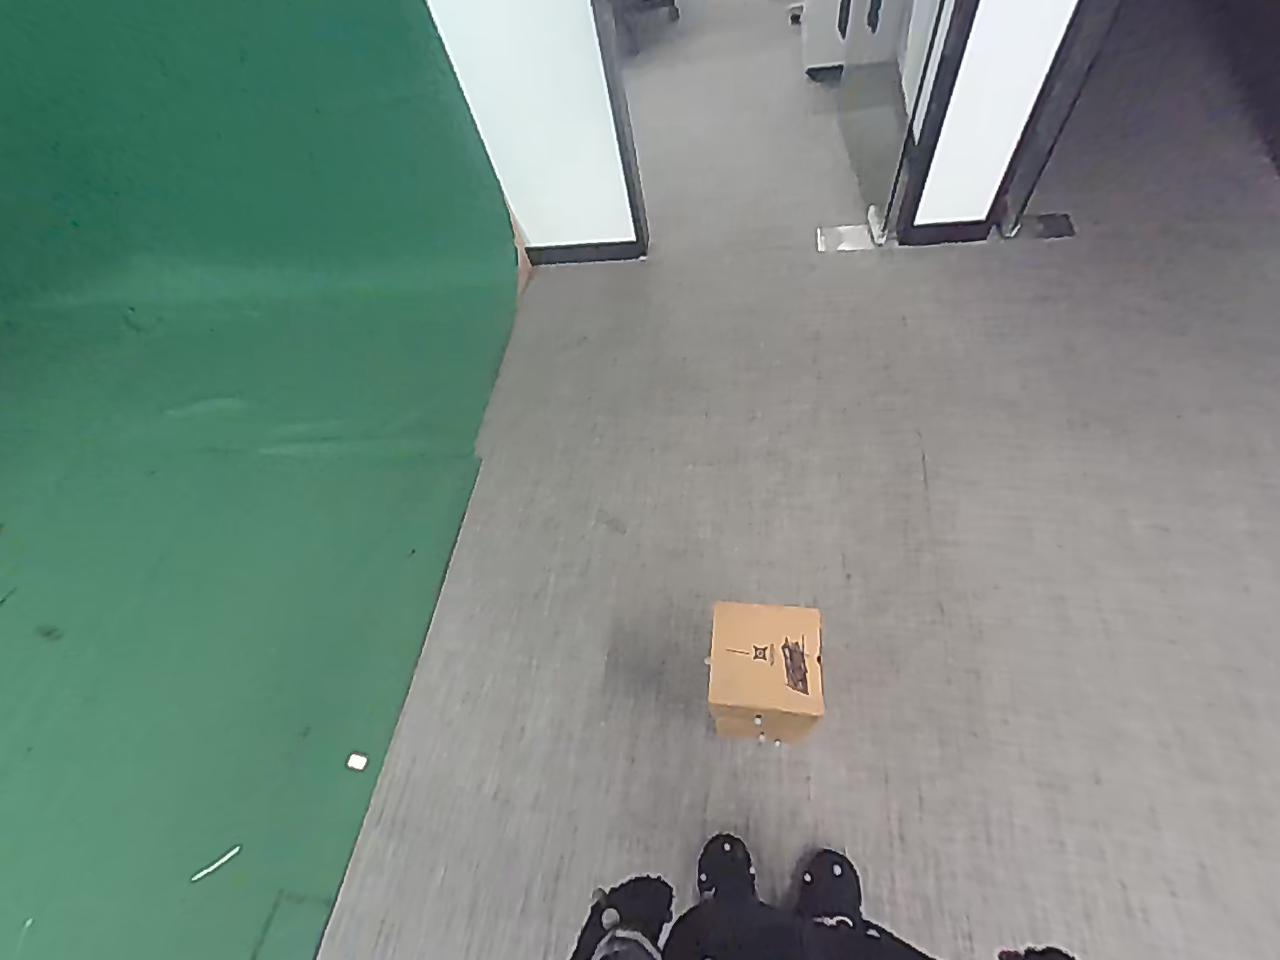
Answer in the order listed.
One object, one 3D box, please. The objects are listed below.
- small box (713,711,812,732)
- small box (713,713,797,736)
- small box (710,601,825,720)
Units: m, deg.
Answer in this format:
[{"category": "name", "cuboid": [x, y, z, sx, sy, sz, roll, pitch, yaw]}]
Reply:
[{"category": "small box", "cuboid": [0.241, 0.400, 1.078, 0.179, 0.176, 0.168, 2, 61, 11]}, {"category": "small box", "cuboid": [0.262, 0.476, 1.222, 0.179, 0.176, 0.168, 1, 60, 13]}, {"category": "small box", "cuboid": [0.213, 0.318, 0.939, 0.179, 0.176, 0.168, 0, 61, 9]}]
